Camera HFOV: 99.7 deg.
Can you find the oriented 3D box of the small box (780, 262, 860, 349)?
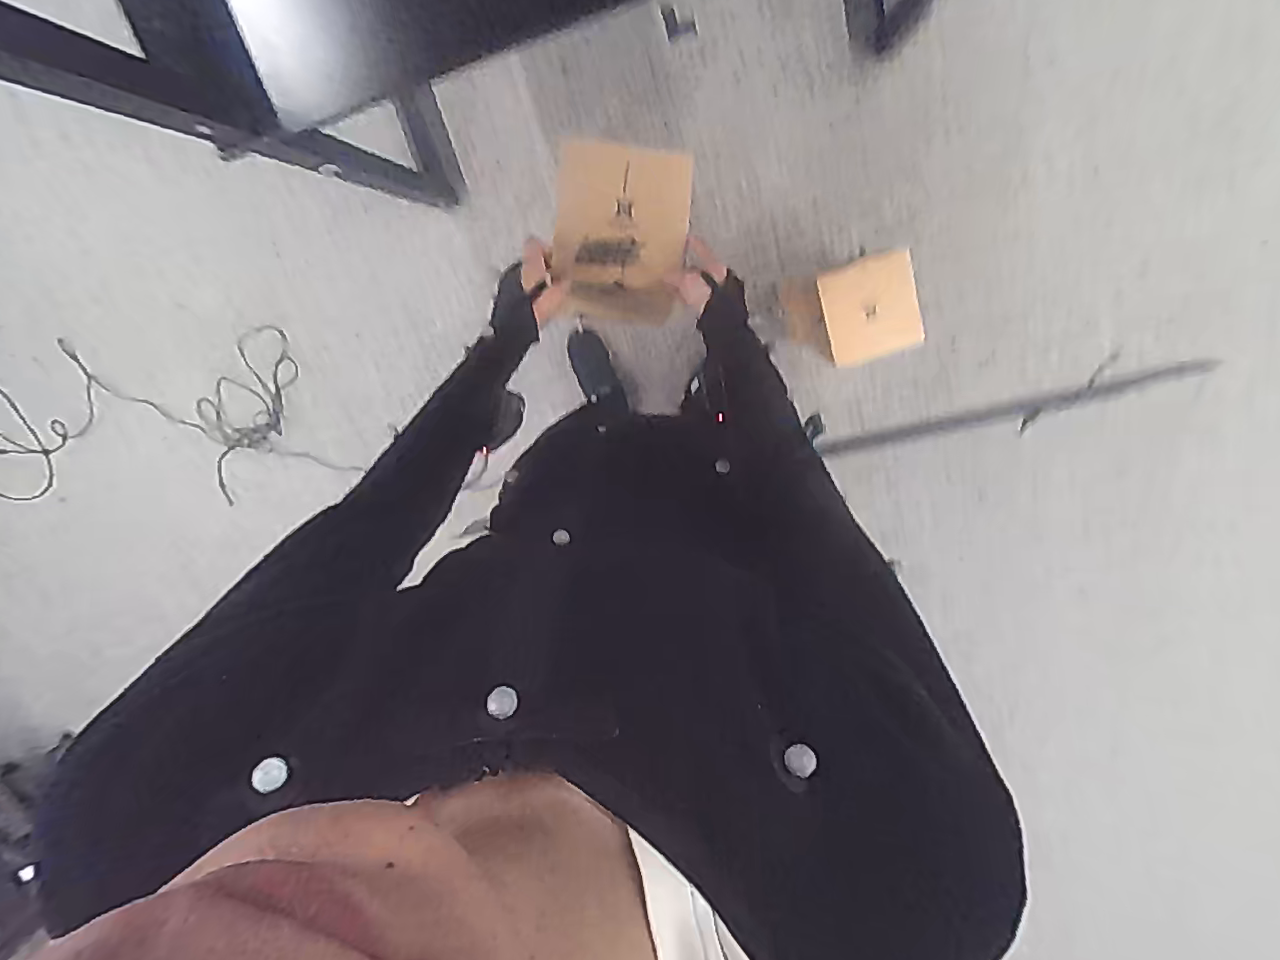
[{"bbox_3d":[0.468,-0.444,1.372,0.179,0.176,0.168,-15,107,12],"label":"small box"}]

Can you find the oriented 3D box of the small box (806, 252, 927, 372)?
[{"bbox_3d":[0.439,-0.332,1.066,0.168,0.176,0.179,-16,107,12],"label":"small box"}]

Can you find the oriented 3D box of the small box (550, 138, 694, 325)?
[{"bbox_3d":[-0.027,-0.320,0.734,0.168,0.176,0.179,4,91,-5],"label":"small box"}]
